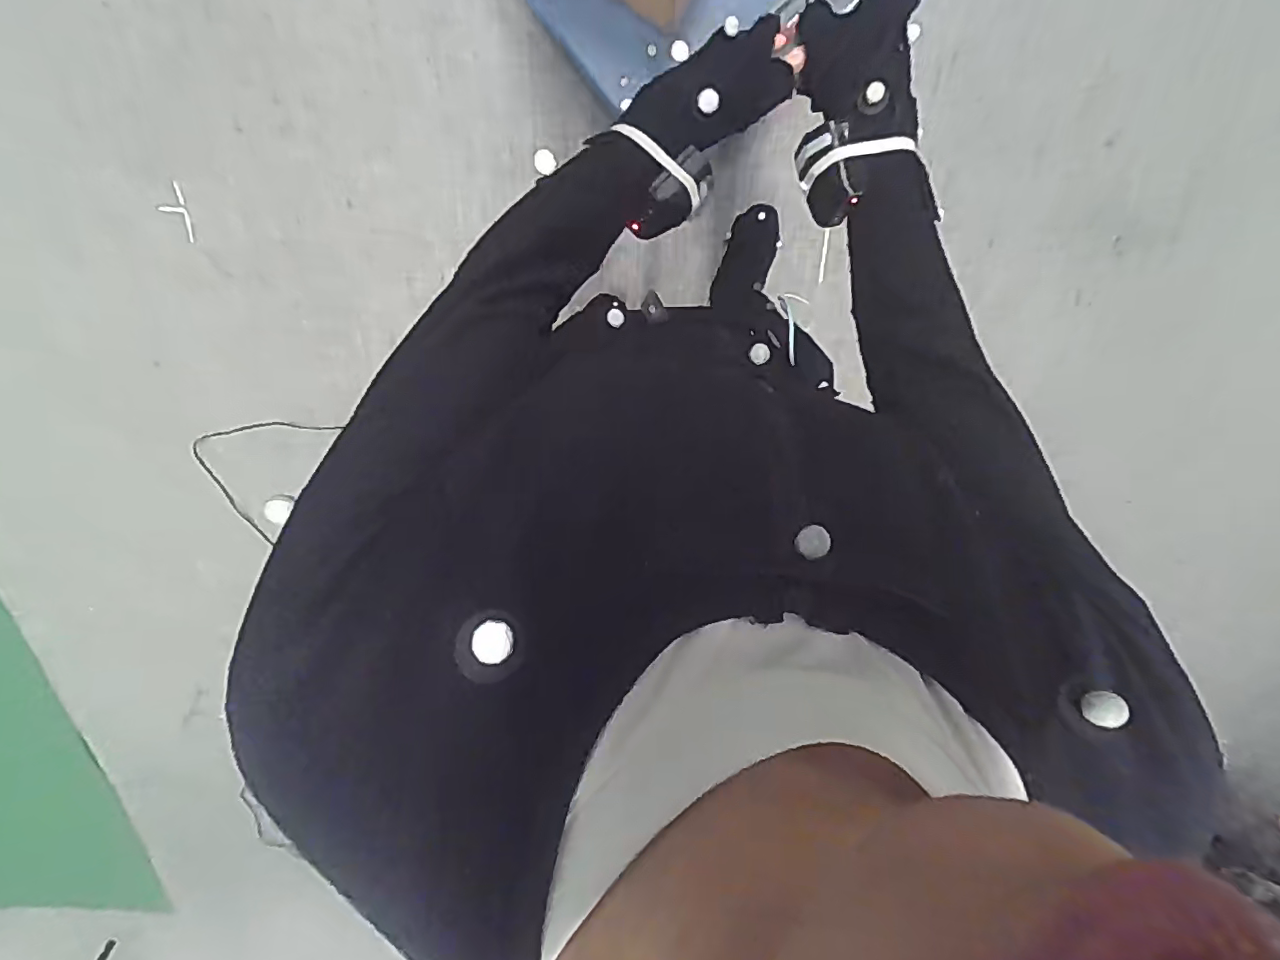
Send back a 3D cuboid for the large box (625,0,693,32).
[{"bbox_3d":[0.025,-0.961,0.741,0.320,0.320,0.408,26,114,-11],"label":"large box"}]
